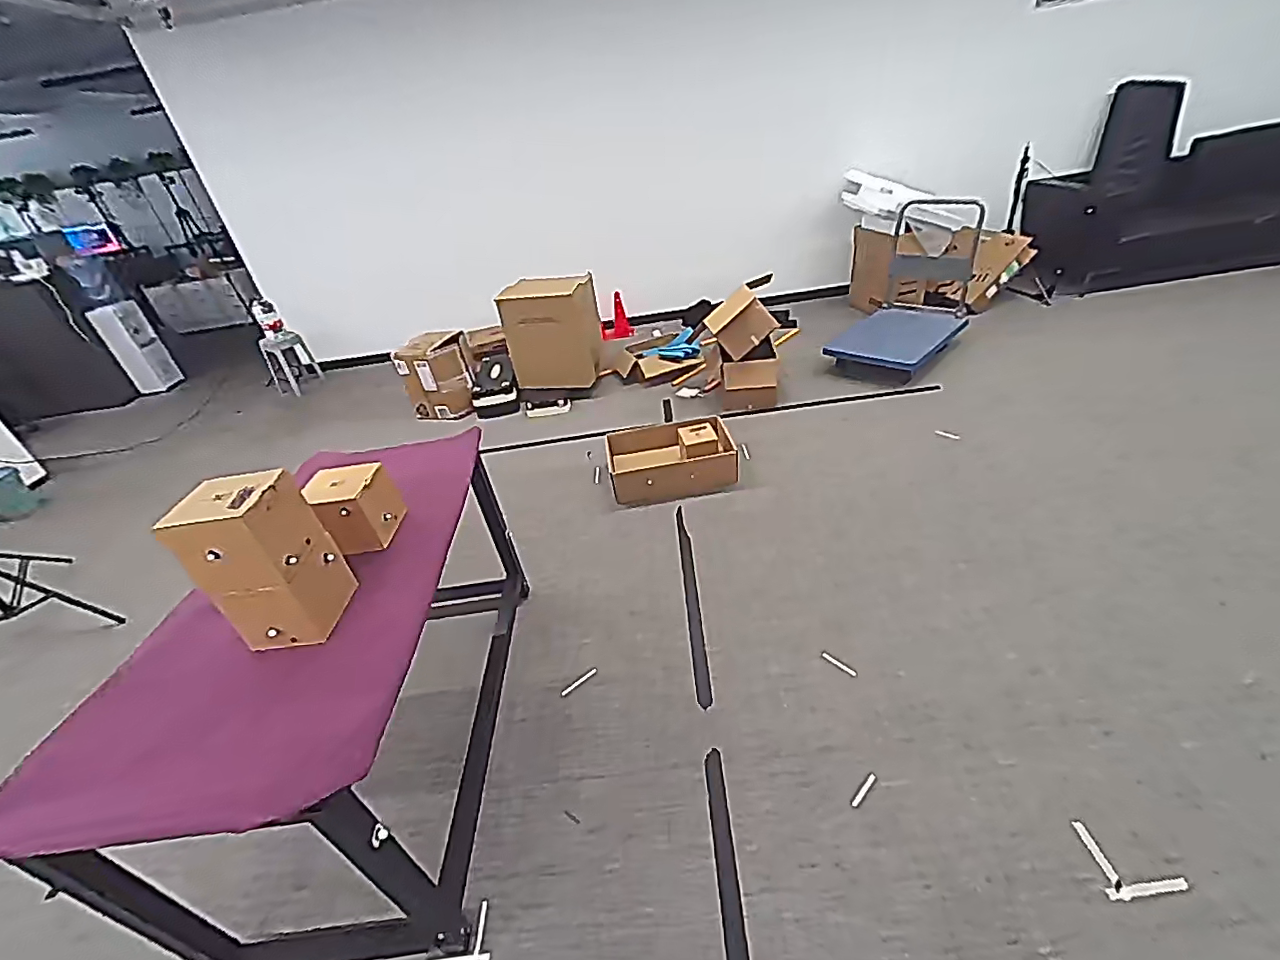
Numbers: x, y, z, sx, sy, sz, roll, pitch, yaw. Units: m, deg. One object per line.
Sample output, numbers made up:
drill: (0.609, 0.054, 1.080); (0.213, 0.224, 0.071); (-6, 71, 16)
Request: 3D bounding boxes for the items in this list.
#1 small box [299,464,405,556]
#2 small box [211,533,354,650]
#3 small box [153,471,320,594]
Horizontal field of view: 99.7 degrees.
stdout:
small box: (-0.745, 0.081, 1.399); (0.179, 0.176, 0.168); (-8, 34, 4)
small box: (-0.751, 0.239, 1.165); (0.168, 0.176, 0.179); (-8, 34, 4)
small box: (-0.782, 0.105, 1.075); (0.179, 0.176, 0.168); (-9, 33, 2)
